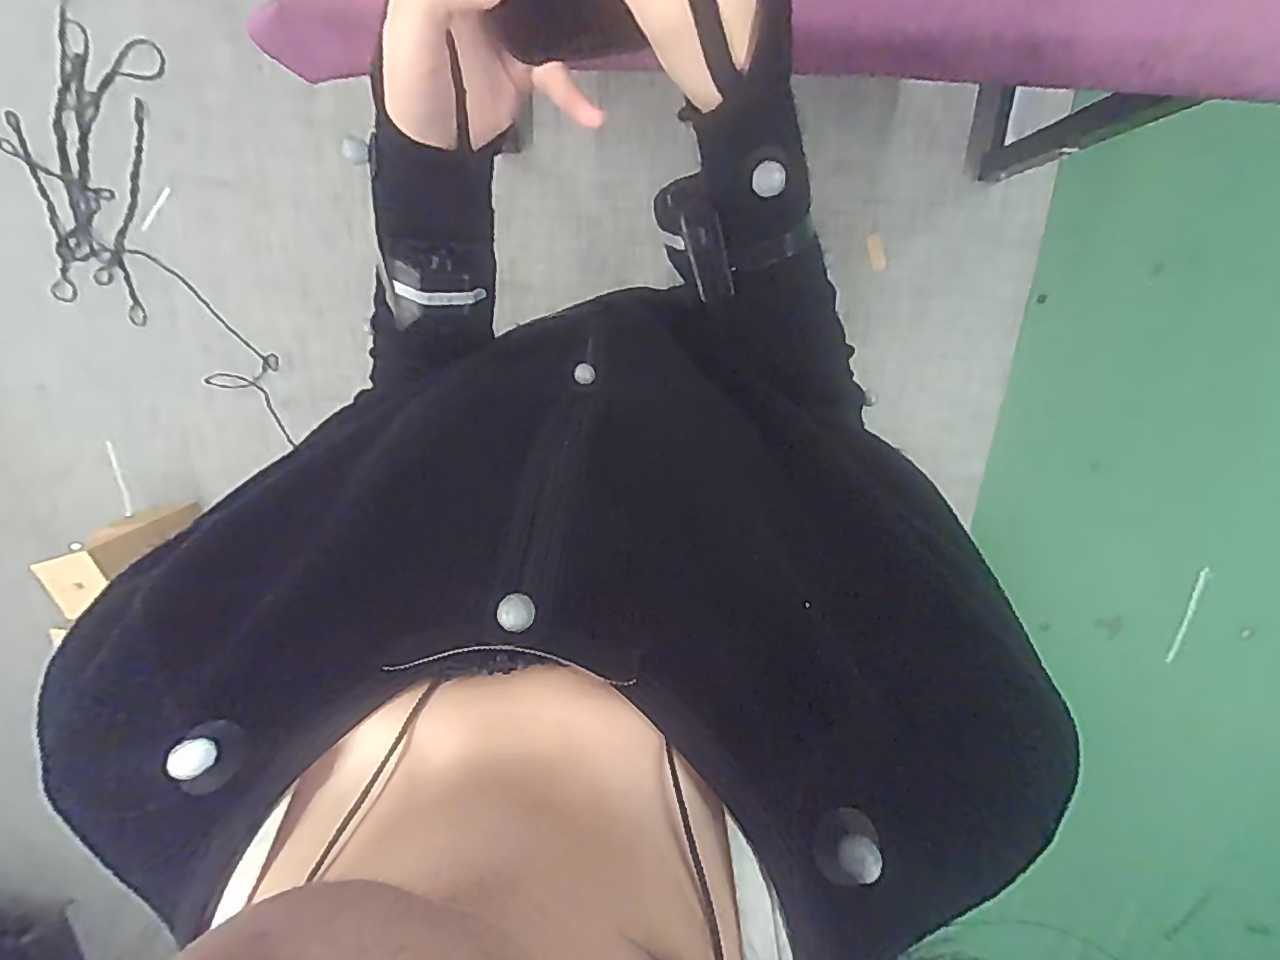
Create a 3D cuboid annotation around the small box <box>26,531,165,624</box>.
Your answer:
[{"bbox_3d":[-1.420,0.252,1.431,0.179,0.176,0.168,-14,107,8],"label":"small box"}]
